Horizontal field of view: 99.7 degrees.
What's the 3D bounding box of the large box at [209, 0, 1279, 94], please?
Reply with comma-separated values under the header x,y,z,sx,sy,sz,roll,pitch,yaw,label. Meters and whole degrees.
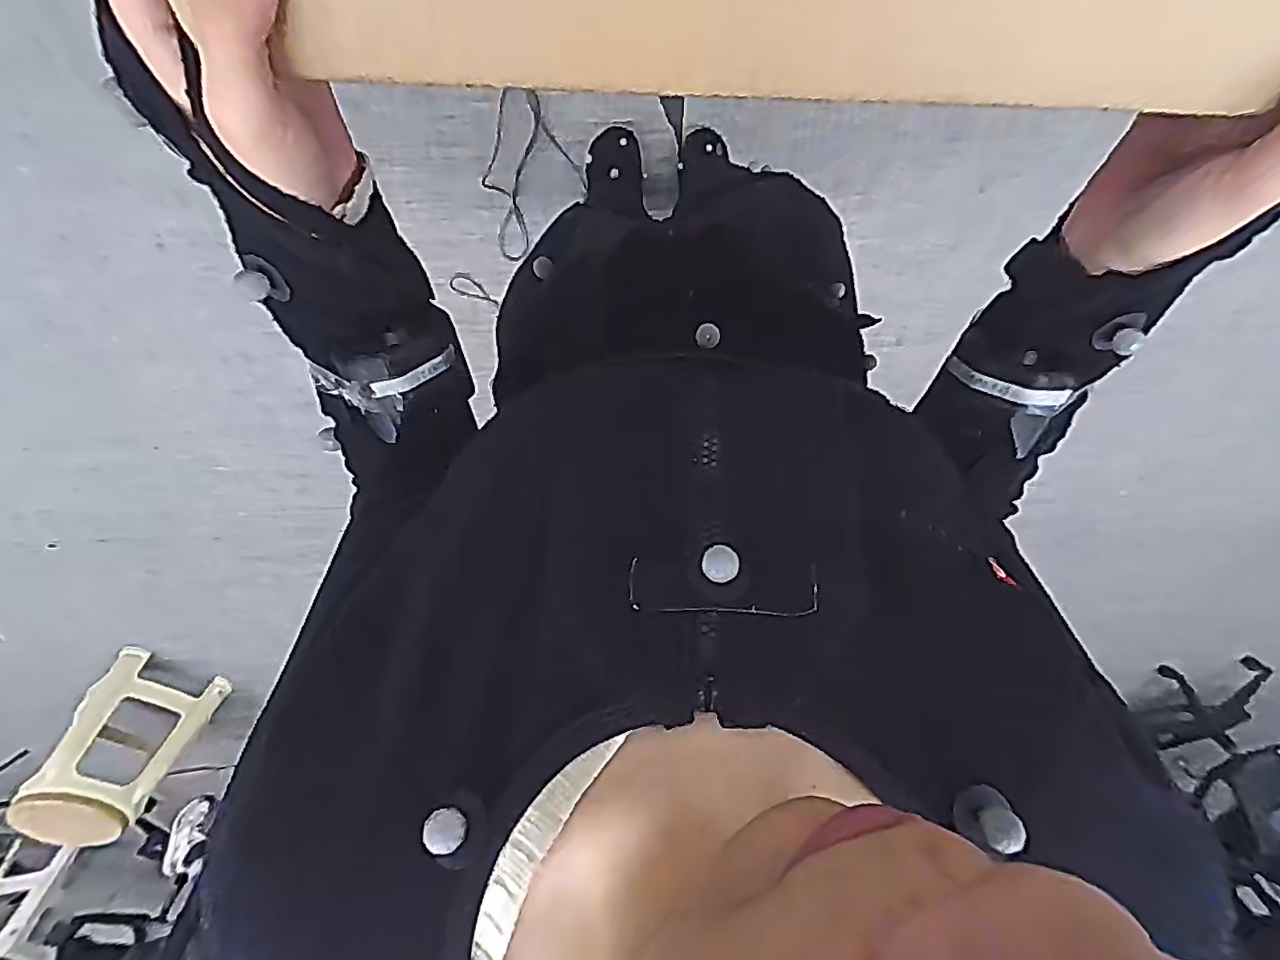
x,y,z,sx,sy,sz,roll,pitch,yaw,label
0.058,-0.351,0.167,0.408,0.320,0.320,0,142,-2,large box
